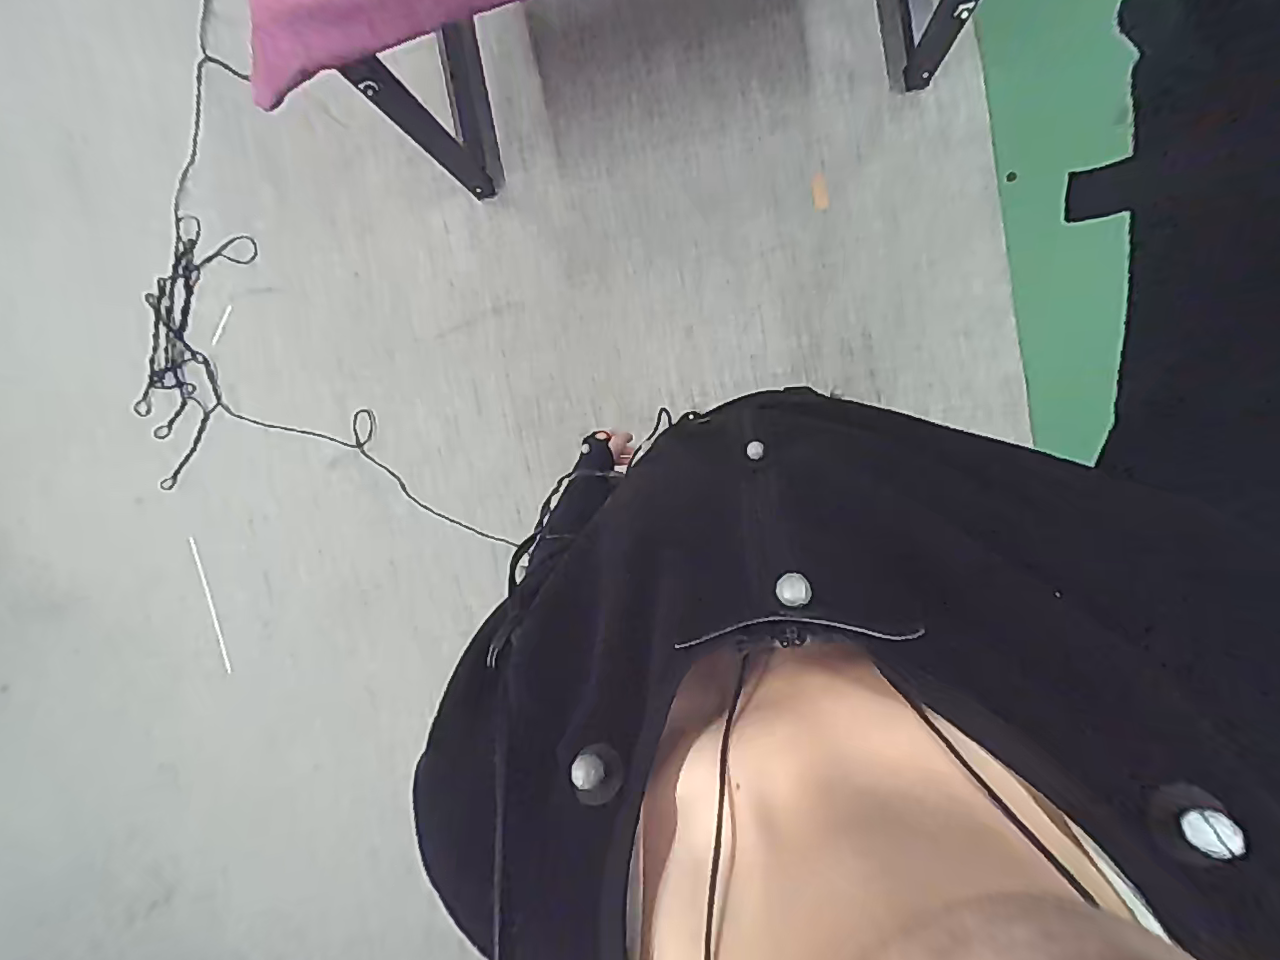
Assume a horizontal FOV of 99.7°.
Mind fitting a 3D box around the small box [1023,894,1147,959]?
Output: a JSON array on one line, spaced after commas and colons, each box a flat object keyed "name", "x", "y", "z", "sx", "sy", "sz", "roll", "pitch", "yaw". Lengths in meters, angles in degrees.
[{"name": "small box", "x": 0.935, "y": 1.001, "z": 1.088, "sx": 0.168, "sy": 0.176, "sz": 0.179, "roll": -44, "pitch": 88, "yaw": 10}]
